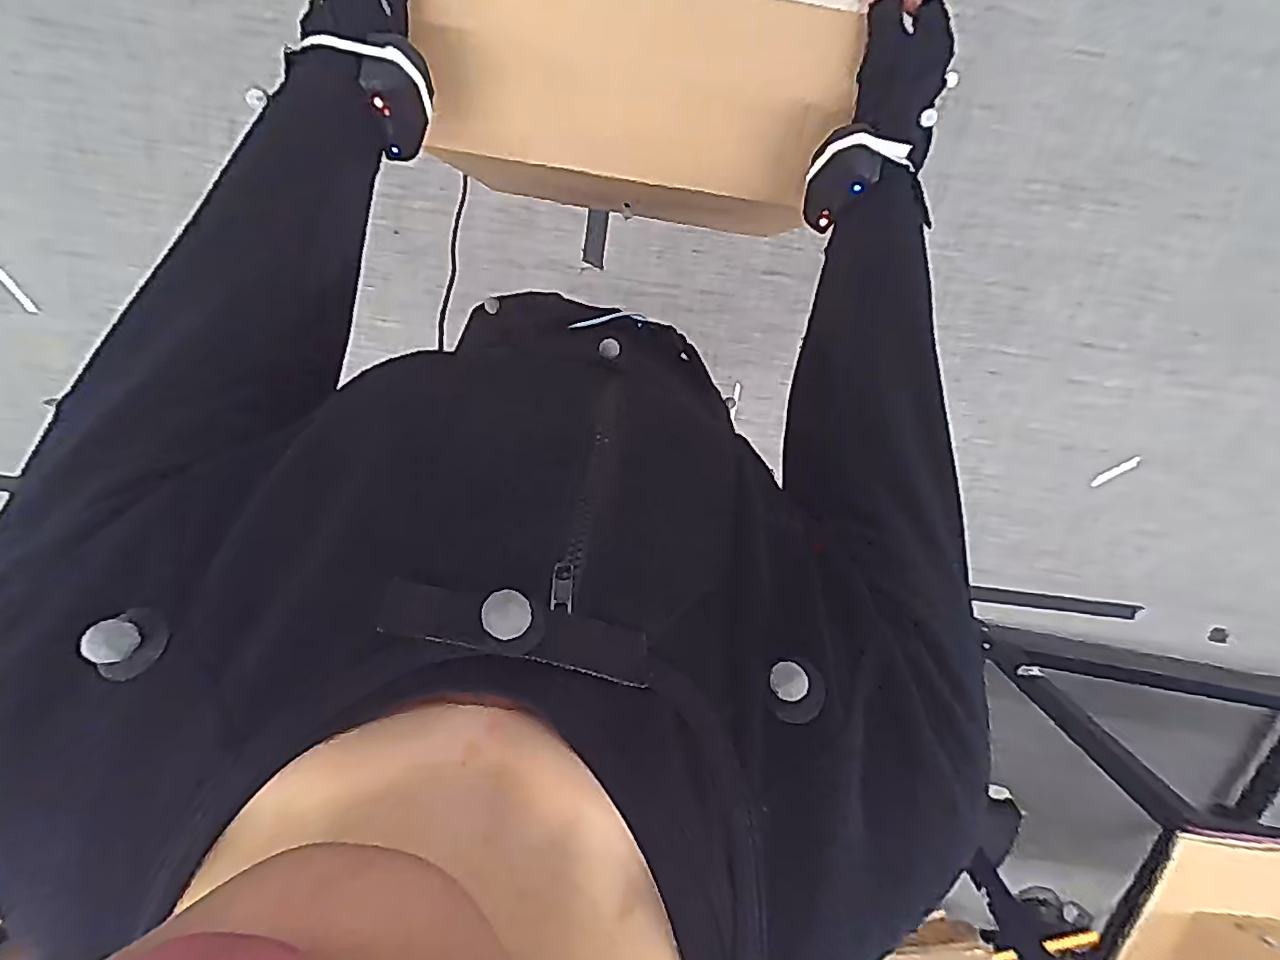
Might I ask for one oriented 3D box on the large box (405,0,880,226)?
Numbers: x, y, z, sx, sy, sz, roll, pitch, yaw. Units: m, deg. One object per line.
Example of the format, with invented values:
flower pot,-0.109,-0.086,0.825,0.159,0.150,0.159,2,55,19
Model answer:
large box,0.010,-0.480,0.584,0.408,0.320,0.320,9,109,-2
